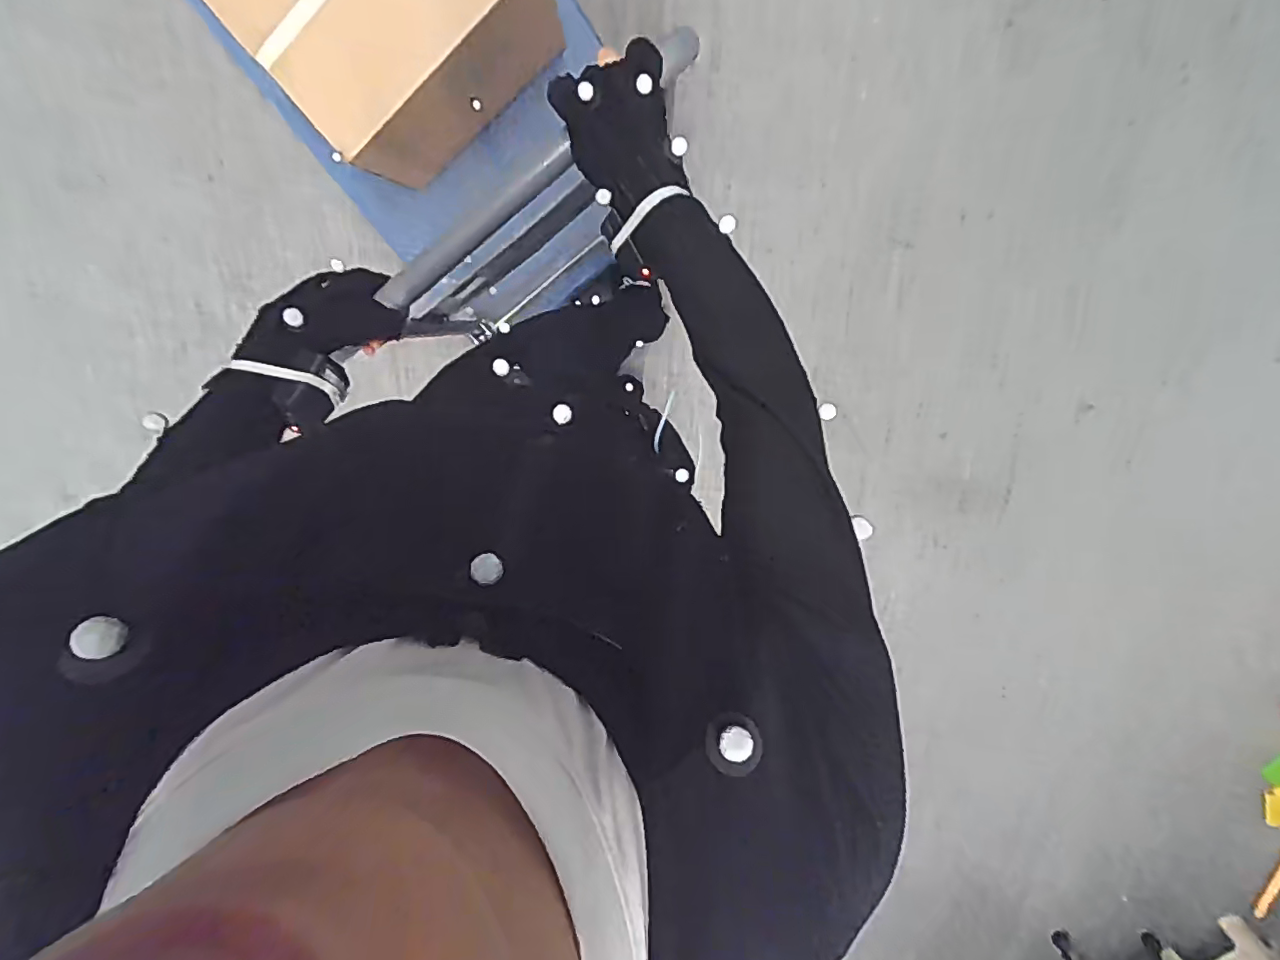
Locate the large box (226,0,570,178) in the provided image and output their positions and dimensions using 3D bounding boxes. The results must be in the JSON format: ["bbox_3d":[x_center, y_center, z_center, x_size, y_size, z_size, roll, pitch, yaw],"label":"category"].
[{"bbox_3d":[-0.371,-0.784,0.882,0.408,0.320,0.320,-38,107,13],"label":"large box"}]
